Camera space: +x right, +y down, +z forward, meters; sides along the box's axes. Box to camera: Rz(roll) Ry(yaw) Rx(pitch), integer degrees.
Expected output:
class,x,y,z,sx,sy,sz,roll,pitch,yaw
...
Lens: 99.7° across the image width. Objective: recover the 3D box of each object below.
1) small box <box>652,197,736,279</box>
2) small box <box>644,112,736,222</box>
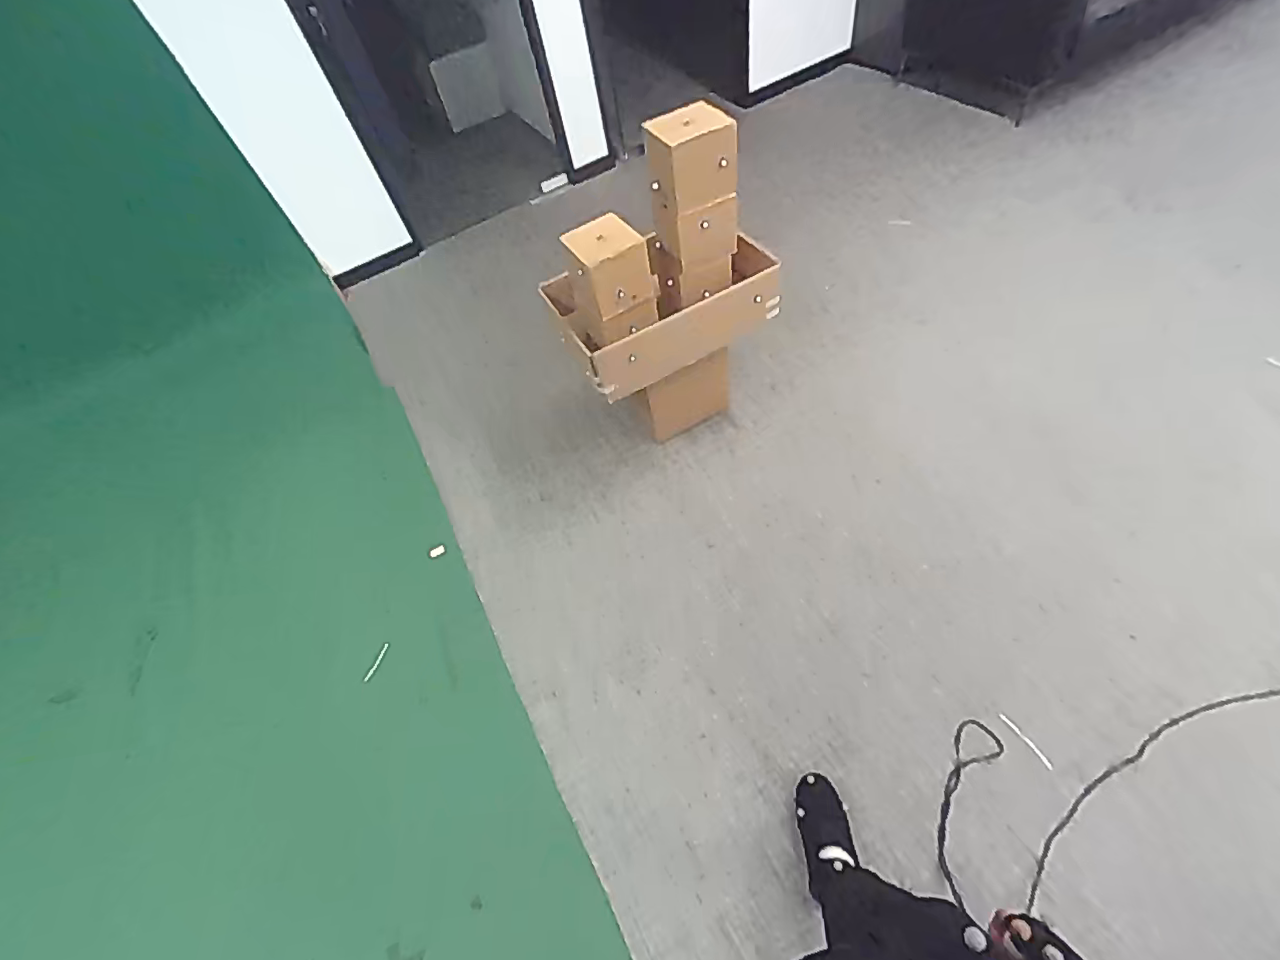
class,x,y,z,sx,sy,sz,roll,pitch,yaw
small box,0.155,-0.689,1.497,0.179,0.176,0.168,-25,54,-8
small box,0.129,-0.792,1.373,0.179,0.176,0.168,-26,53,-7
